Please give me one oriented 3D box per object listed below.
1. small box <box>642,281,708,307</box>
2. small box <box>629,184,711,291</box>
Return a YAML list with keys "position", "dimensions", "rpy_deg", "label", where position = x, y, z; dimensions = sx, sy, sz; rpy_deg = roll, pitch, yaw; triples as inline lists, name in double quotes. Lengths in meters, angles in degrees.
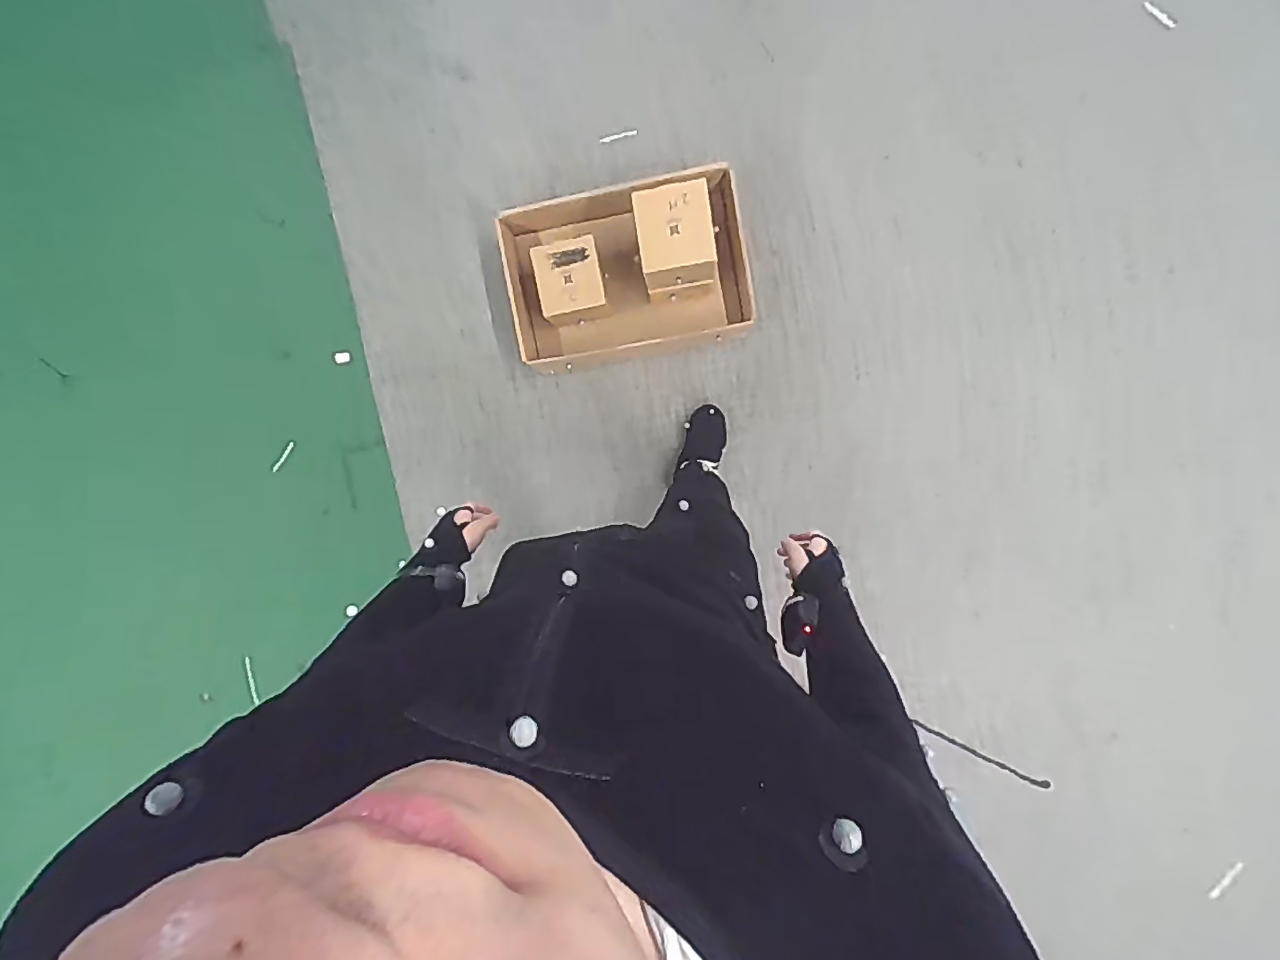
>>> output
- position: [0.086, -0.563, 1.418]
  dimensions: [0.168, 0.176, 0.179]
  rpy_deg: [-8, 95, 6]
  label: "small box"
- position: [0.074, -0.549, 1.254]
  dimensions: [0.168, 0.176, 0.179]
  rpy_deg: [-8, 95, 6]
  label: "small box"
